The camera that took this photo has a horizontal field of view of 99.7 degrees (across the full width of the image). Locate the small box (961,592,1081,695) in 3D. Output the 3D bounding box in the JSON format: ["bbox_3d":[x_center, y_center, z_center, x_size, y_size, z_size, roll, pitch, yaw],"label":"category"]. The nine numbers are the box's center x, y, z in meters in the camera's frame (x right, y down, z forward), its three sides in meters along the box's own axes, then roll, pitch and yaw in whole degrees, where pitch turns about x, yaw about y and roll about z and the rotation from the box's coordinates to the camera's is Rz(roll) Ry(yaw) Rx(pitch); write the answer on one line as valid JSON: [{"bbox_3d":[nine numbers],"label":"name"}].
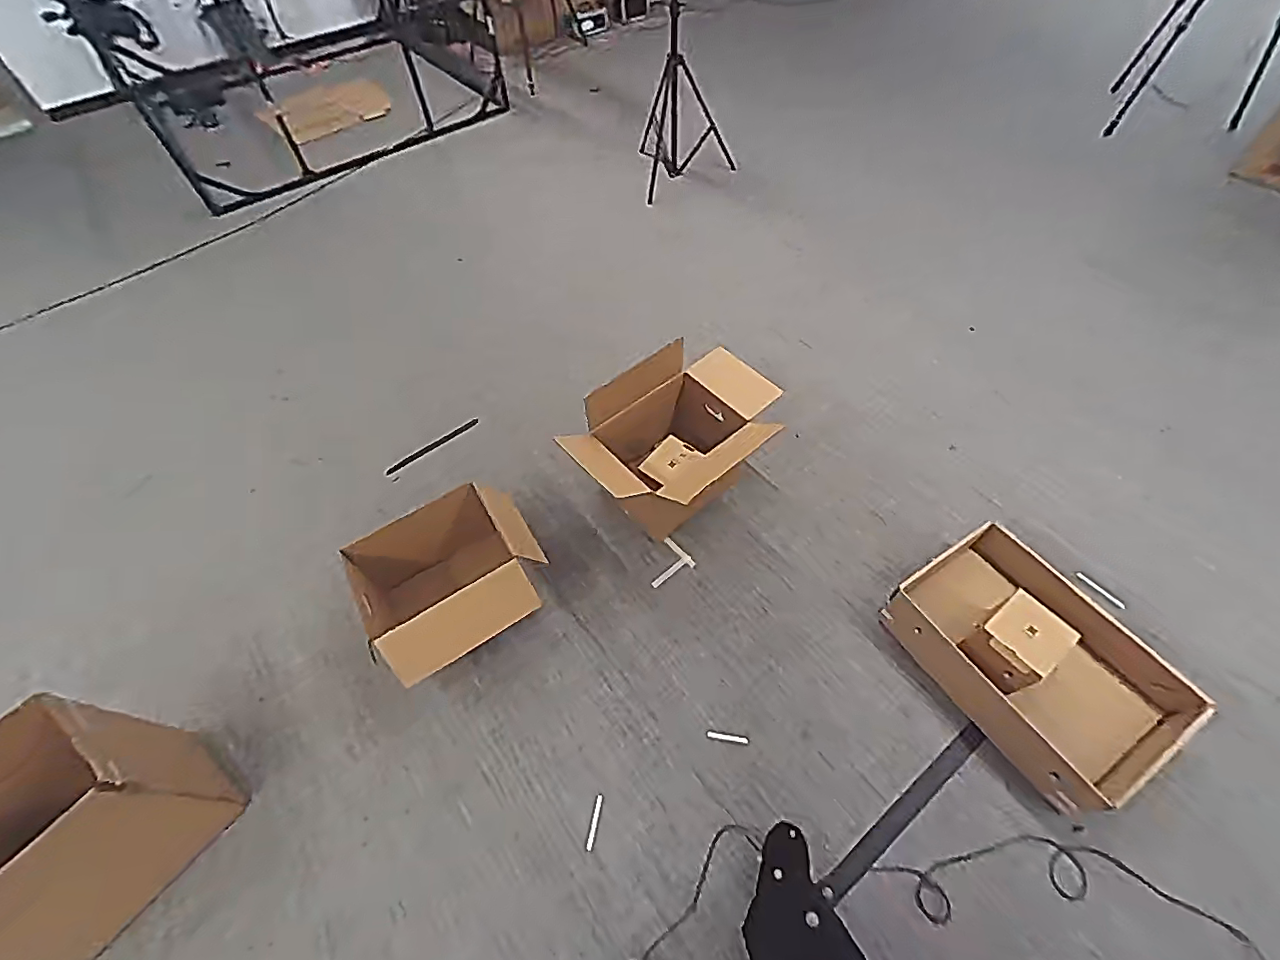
[{"bbox_3d":[0.984,0.433,1.417,0.179,0.176,0.168,-33,61,-19],"label":"small box"}]
